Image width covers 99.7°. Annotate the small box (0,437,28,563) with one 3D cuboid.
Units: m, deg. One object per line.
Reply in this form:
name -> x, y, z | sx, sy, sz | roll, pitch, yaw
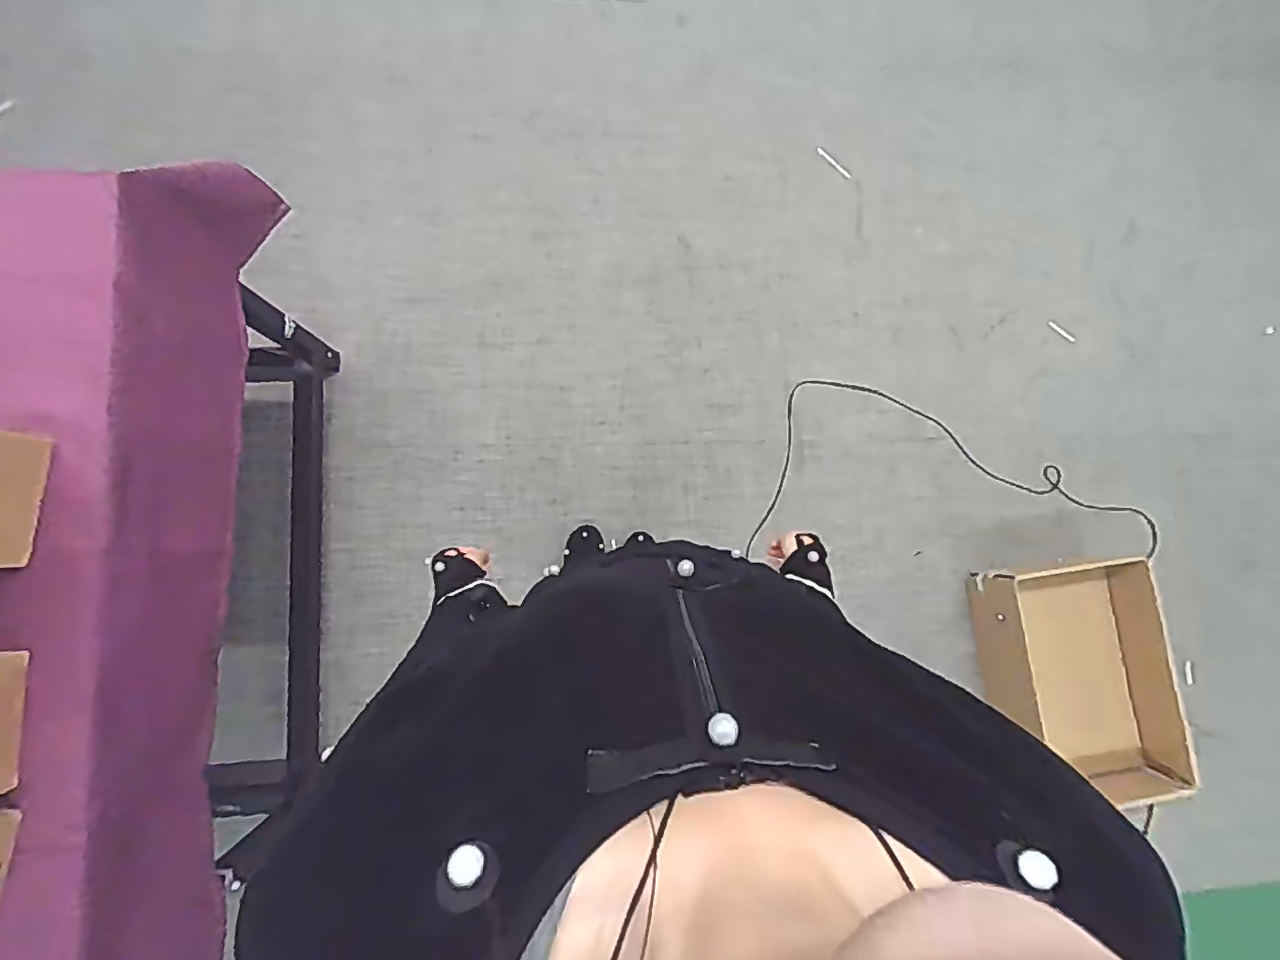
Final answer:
small box -> -0.891, 0.017, 0.628 | 0.168, 0.176, 0.179 | 6, 84, -5
